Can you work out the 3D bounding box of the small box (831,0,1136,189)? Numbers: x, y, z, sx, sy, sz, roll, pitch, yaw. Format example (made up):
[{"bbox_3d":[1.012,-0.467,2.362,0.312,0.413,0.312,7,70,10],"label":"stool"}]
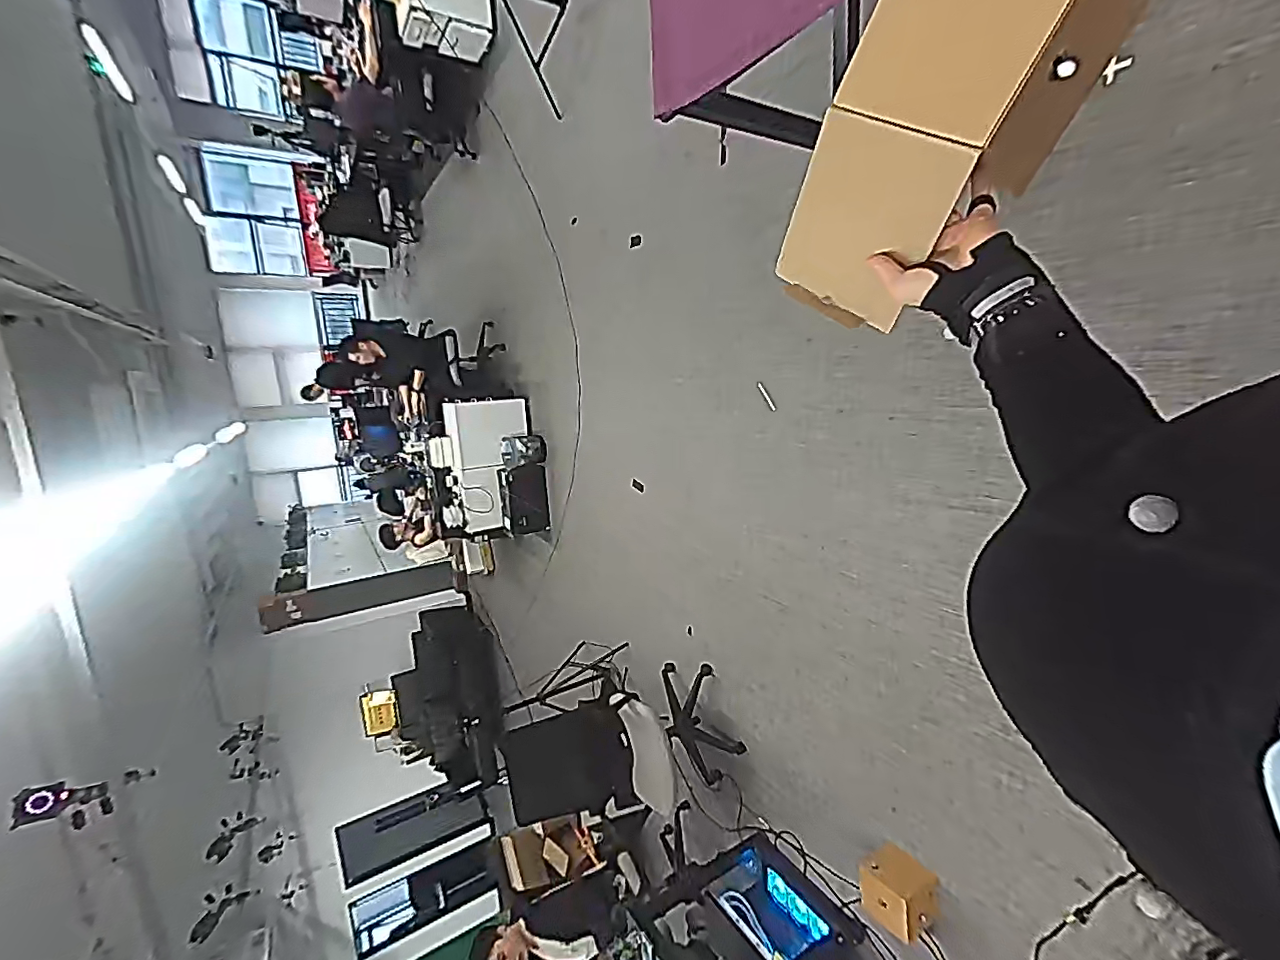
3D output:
[{"bbox_3d":[0.329,-0.408,0.521,0.168,0.176,0.179,44,126,31],"label":"small box"}]
